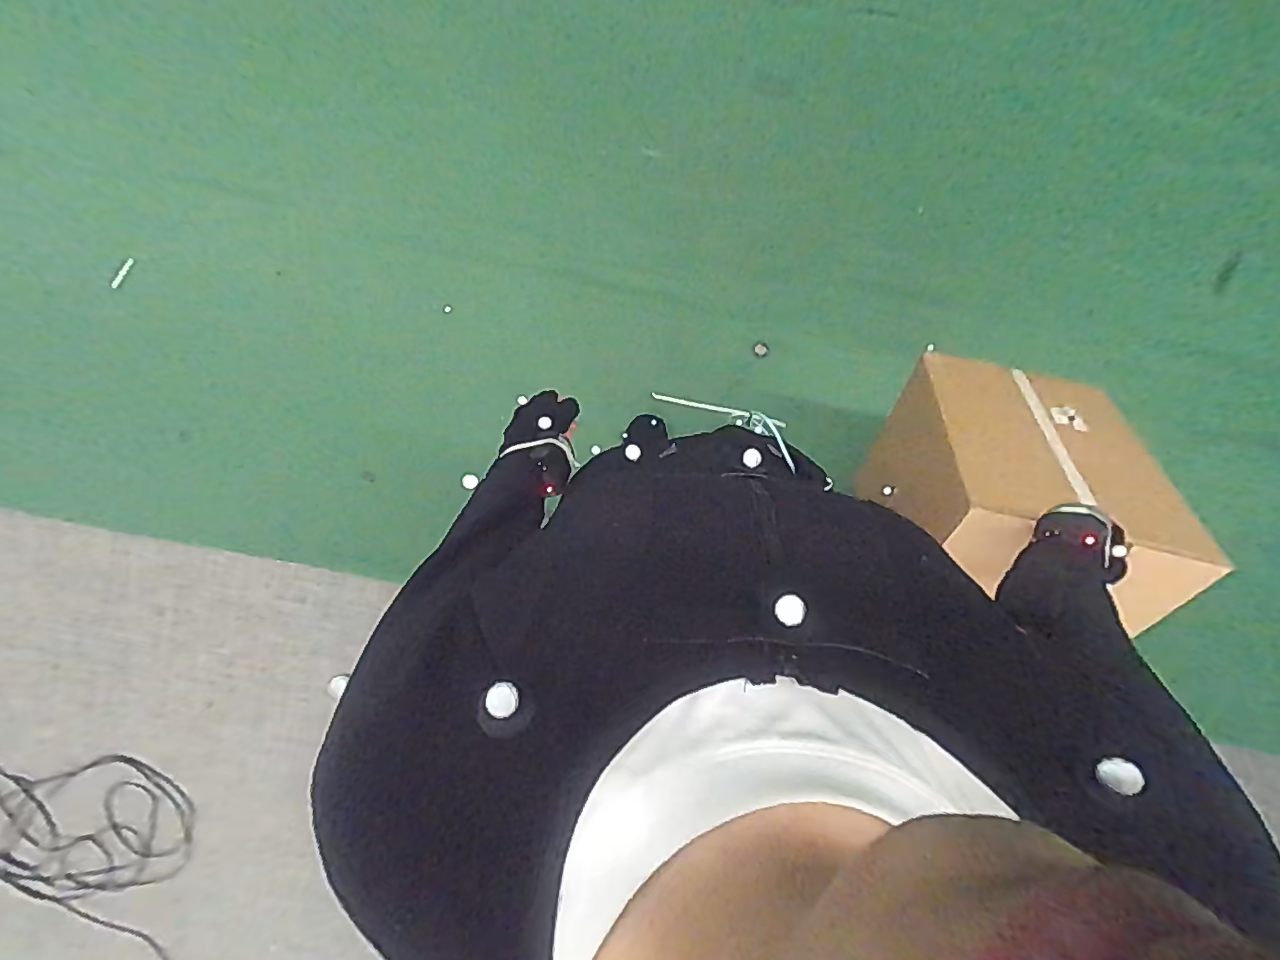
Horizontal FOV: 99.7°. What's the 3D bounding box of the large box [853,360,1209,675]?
[{"bbox_3d":[0.583,0.052,0.923,0.320,0.408,0.320,14,132,4],"label":"large box"}]
